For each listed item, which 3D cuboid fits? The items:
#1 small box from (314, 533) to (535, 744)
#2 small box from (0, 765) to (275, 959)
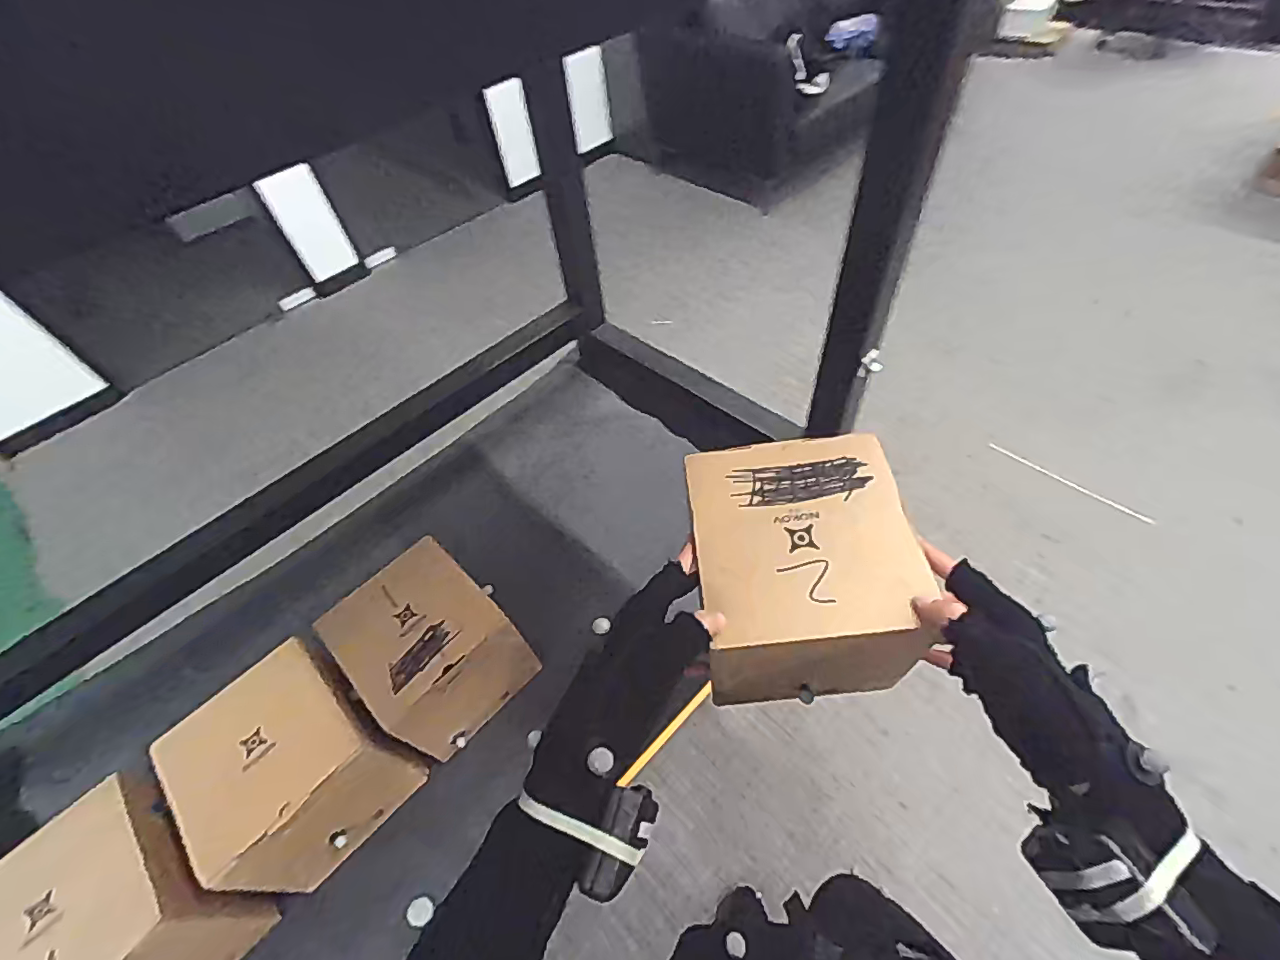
[{"bbox_3d":[-0.260,0.207,0.688,0.179,0.176,0.168,35,64,30],"label":"small box"},{"bbox_3d":[-0.522,0.433,0.545,0.179,0.176,0.168,35,64,29],"label":"small box"}]
